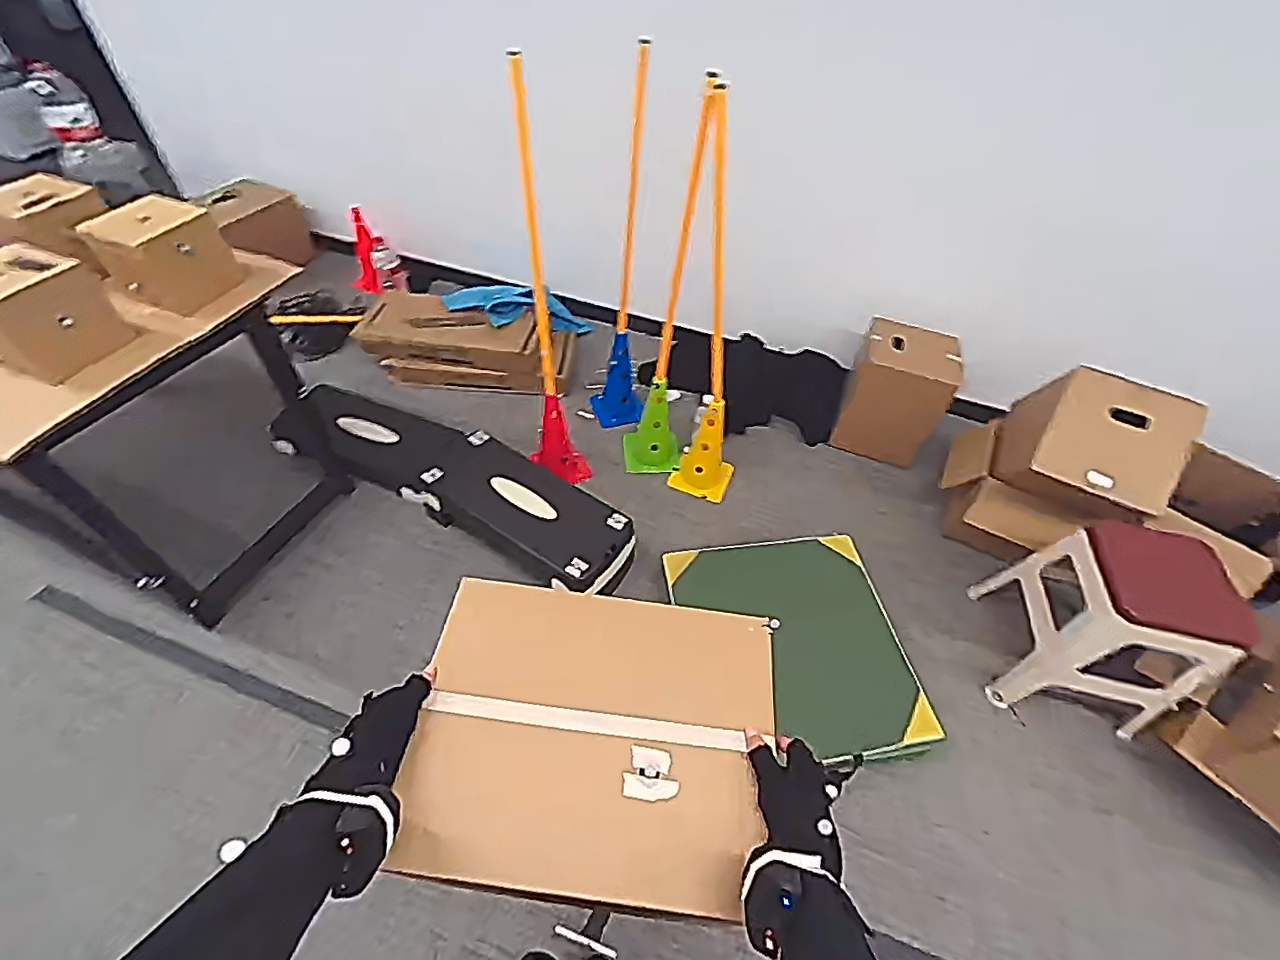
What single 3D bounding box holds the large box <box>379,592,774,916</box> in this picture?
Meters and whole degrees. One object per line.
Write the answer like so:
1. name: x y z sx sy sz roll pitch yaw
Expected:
1. large box: -0.065 0.381 0.741 0.408 0.320 0.320 7 51 -1
